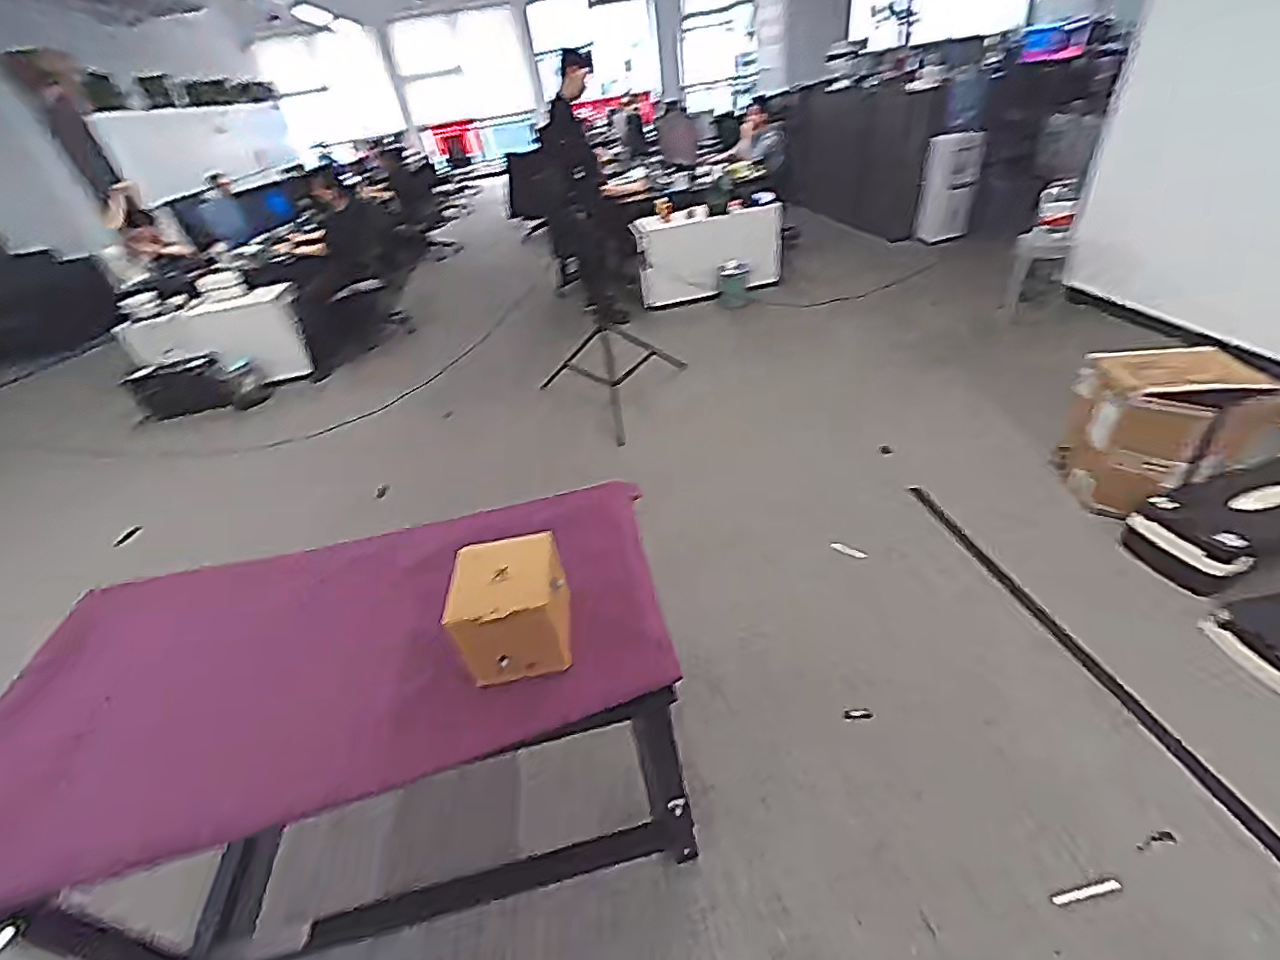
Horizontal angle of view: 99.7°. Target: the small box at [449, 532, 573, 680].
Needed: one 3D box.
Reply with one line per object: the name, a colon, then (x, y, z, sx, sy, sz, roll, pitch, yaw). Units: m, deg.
small box: (-0.216, 0.220, 0.955, 0.168, 0.176, 0.179, -10, 36, 0)
